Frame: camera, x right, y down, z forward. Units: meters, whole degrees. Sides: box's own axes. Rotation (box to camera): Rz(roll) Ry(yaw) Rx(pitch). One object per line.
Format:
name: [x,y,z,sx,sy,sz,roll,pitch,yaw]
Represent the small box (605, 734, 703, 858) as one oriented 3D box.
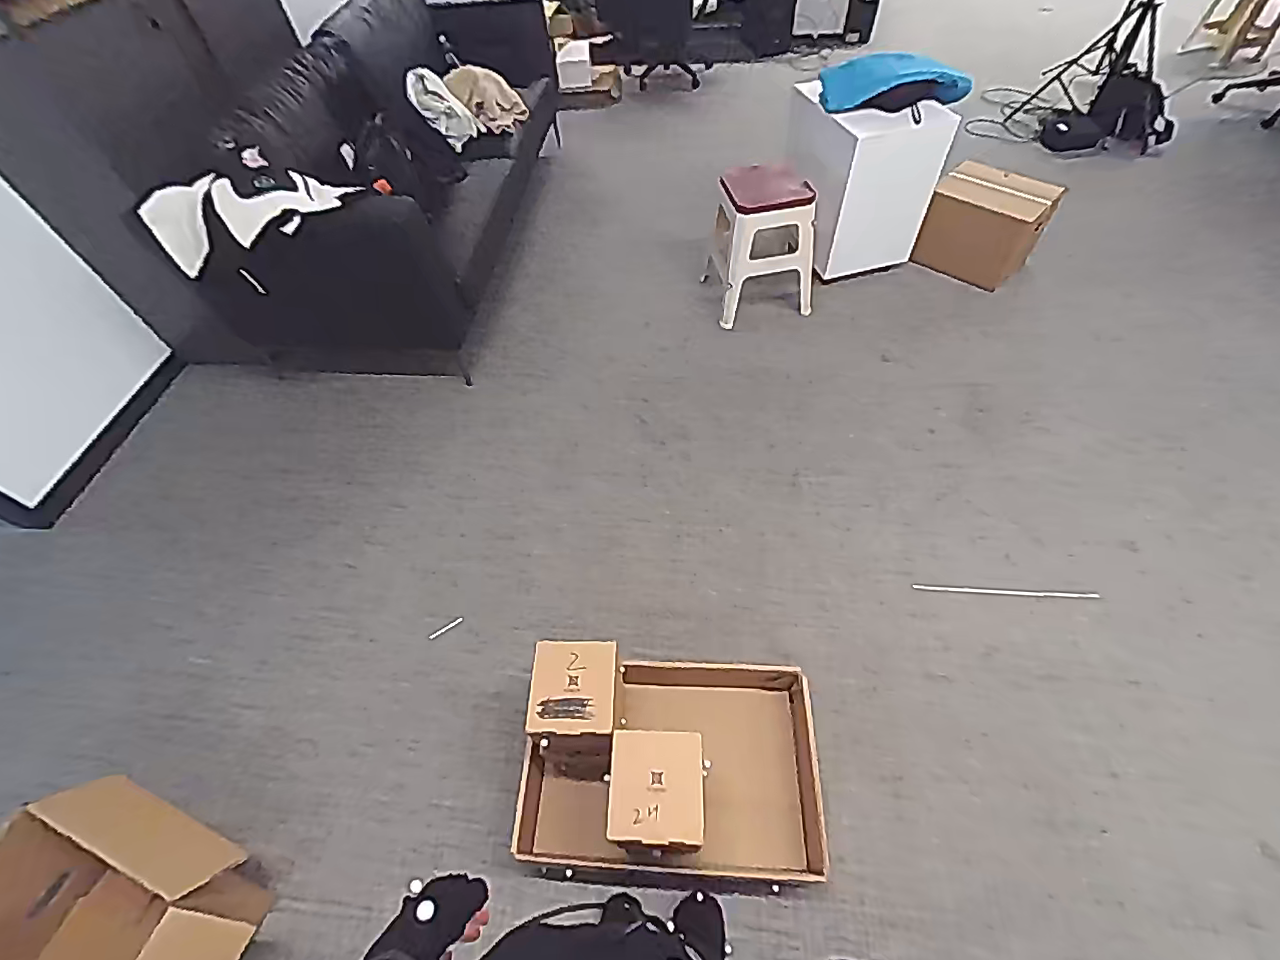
small box: [0.030,0.588,1.004,0.168,0.176,0.179,1,54,4]
